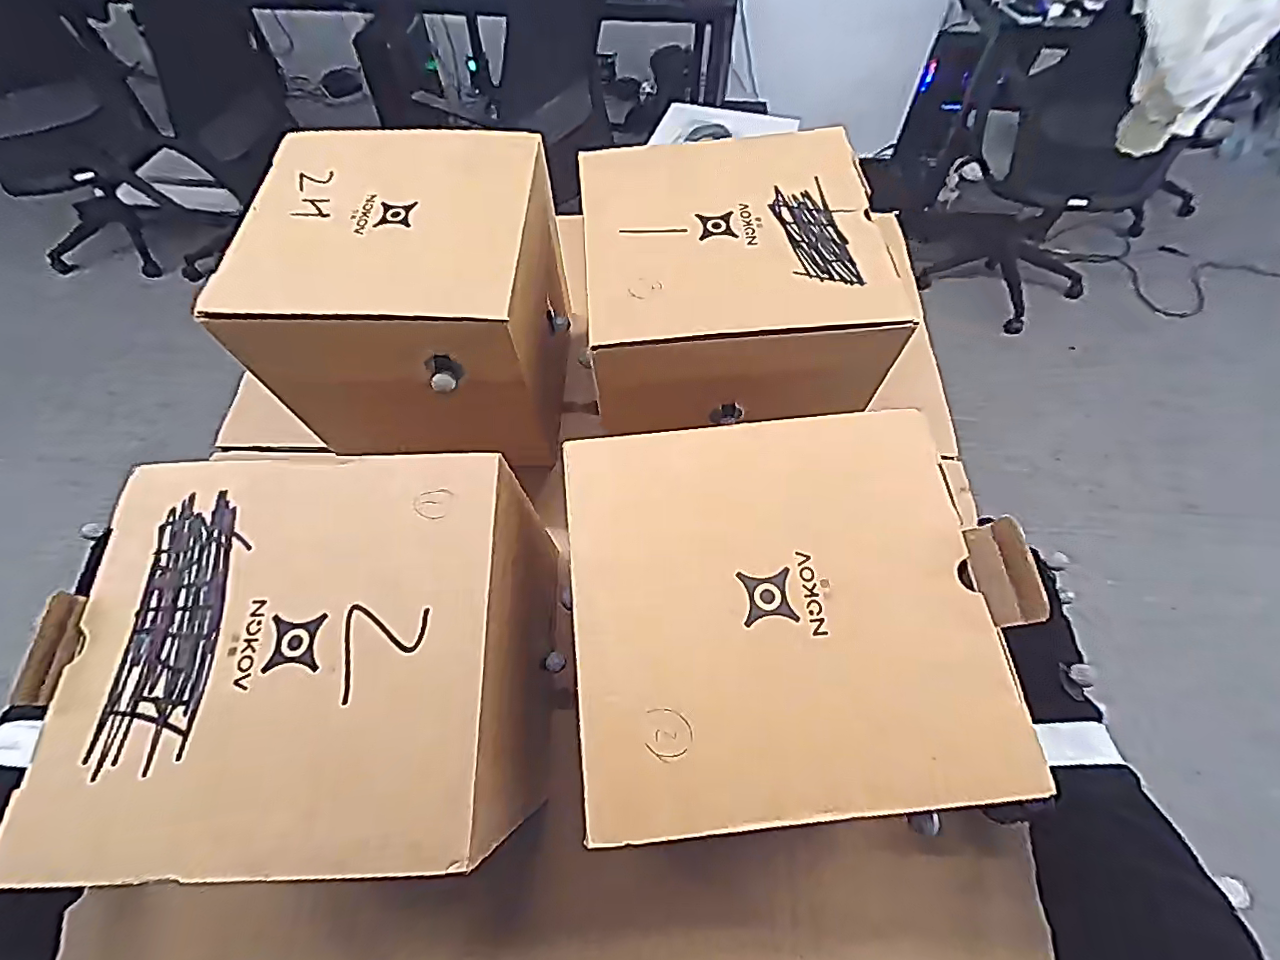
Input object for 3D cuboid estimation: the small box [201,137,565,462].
[{"bbox_3d":[-0.158,-0.124,0.409,0.179,0.176,0.168,2,63,2],"label":"small box"}]
